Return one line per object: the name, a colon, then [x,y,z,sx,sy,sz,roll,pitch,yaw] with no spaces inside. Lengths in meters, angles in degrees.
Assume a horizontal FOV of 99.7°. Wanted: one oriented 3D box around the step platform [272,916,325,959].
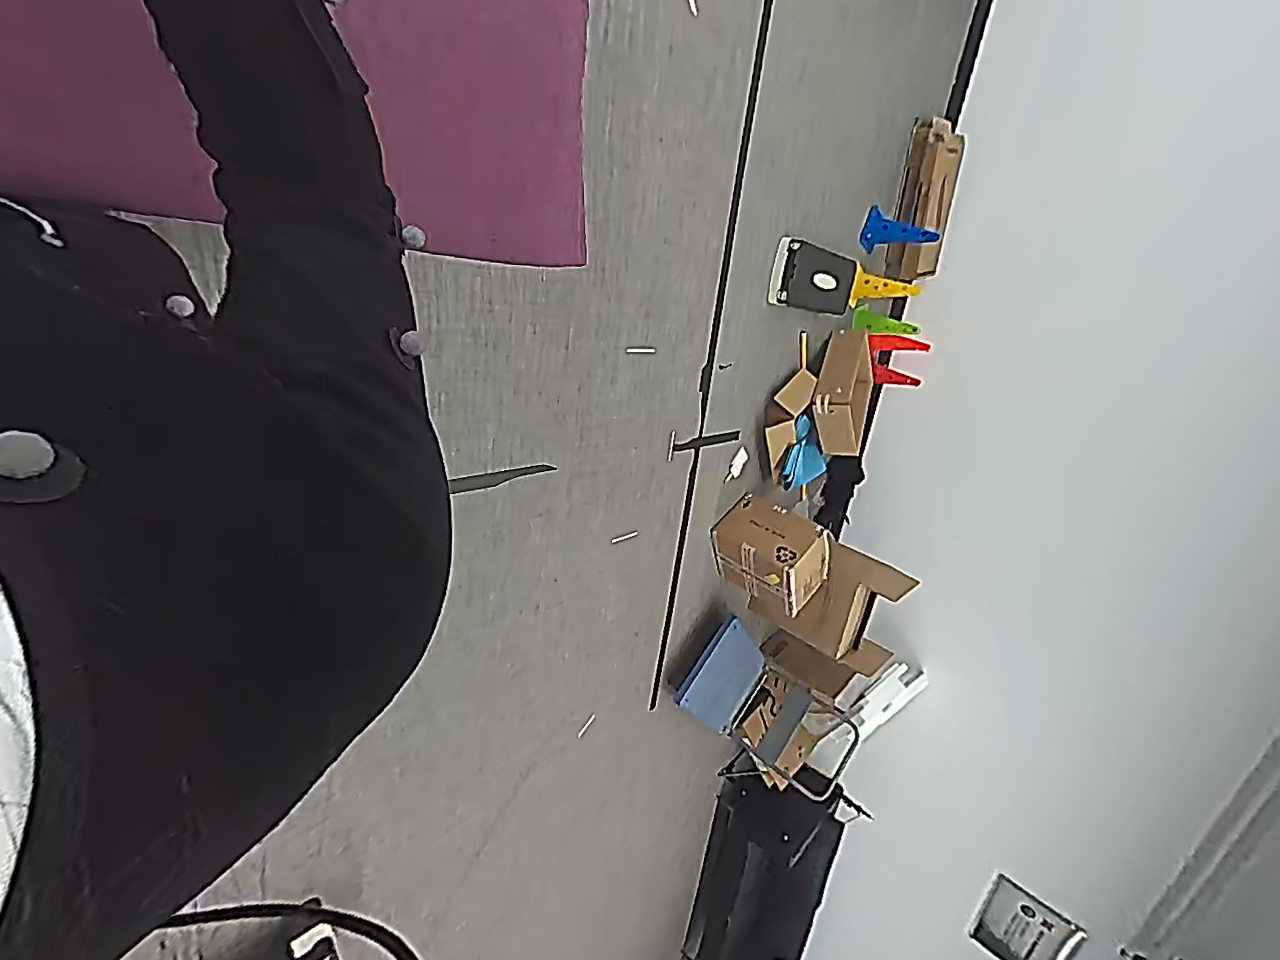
step platform: [-1.269,1.620,1.525,0.684,0.204,0.286,-15,121,-46]
